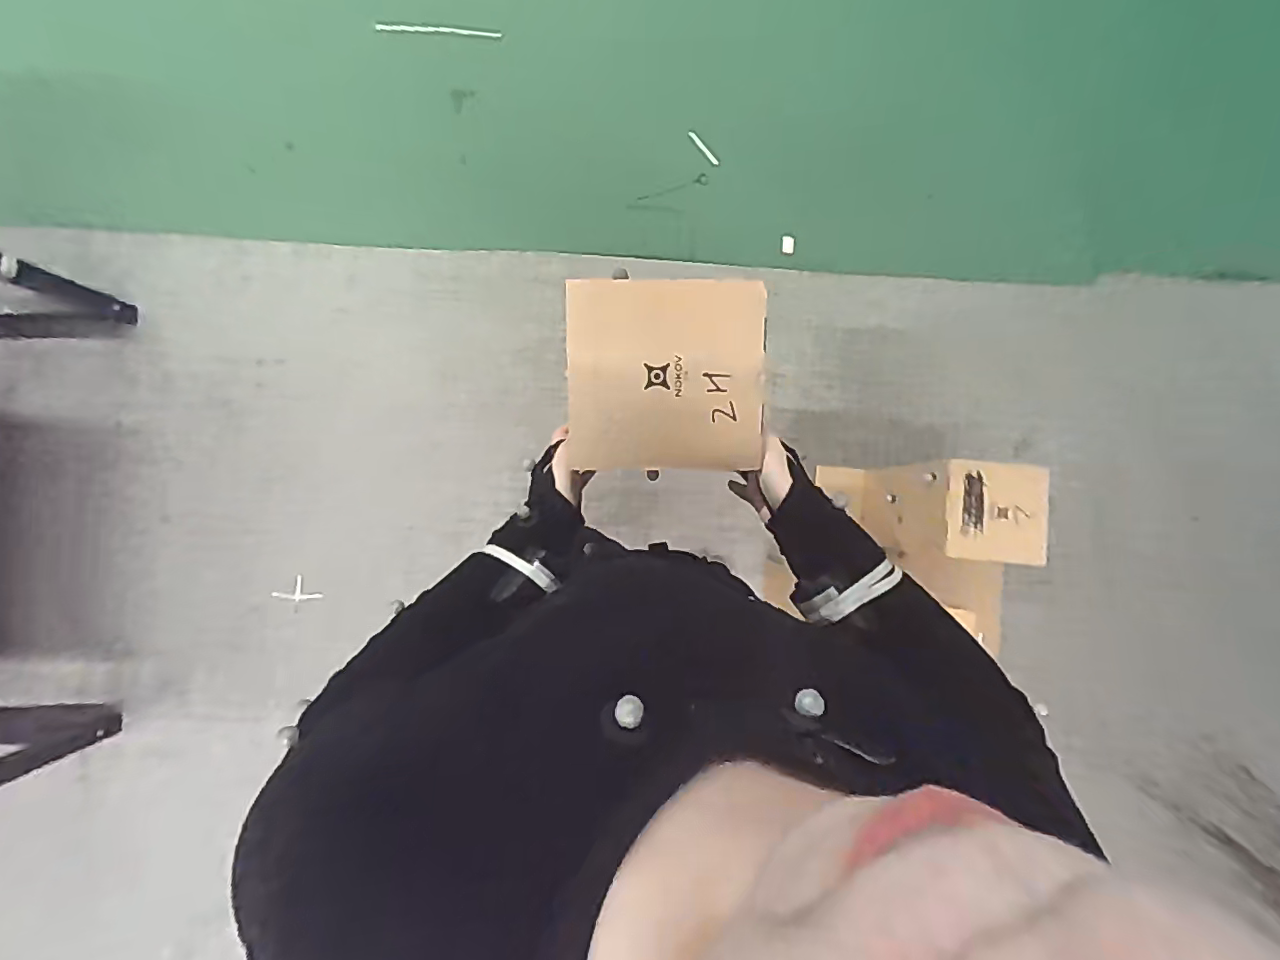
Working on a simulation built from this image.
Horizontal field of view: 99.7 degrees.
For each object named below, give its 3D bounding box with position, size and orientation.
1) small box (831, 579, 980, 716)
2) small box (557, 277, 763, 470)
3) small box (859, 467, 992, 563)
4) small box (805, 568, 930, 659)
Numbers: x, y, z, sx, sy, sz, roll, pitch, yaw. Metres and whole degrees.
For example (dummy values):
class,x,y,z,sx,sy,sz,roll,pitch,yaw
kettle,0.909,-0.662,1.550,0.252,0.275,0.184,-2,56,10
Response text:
class,x,y,z,sx,sy,sz,roll,pitch,yaw
small box,0.455,0.285,0.954,0.168,0.176,0.179,10,88,-2
small box,0.017,-0.104,0.548,0.179,0.176,0.168,0,101,0
small box,0.589,0.072,1.133,0.179,0.176,0.168,9,86,-3
small box,0.459,0.282,1.117,0.179,0.176,0.168,10,88,-3
